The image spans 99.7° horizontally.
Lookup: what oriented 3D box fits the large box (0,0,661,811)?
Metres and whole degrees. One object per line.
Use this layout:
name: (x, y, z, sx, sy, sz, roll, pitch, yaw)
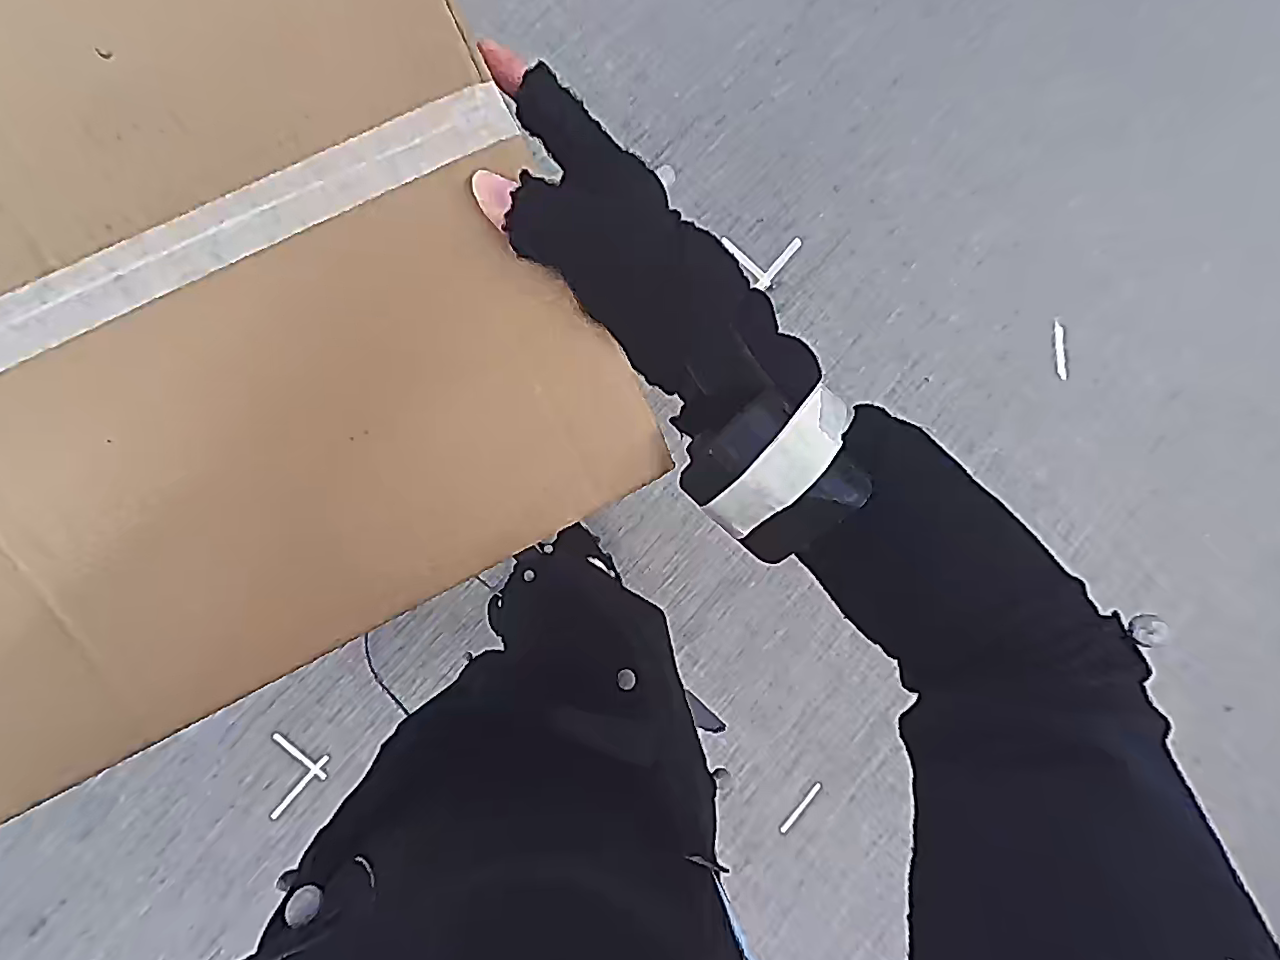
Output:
large box: (-0.252, -0.077, 0.348, 0.408, 0.320, 0.320, -27, 102, -5)
